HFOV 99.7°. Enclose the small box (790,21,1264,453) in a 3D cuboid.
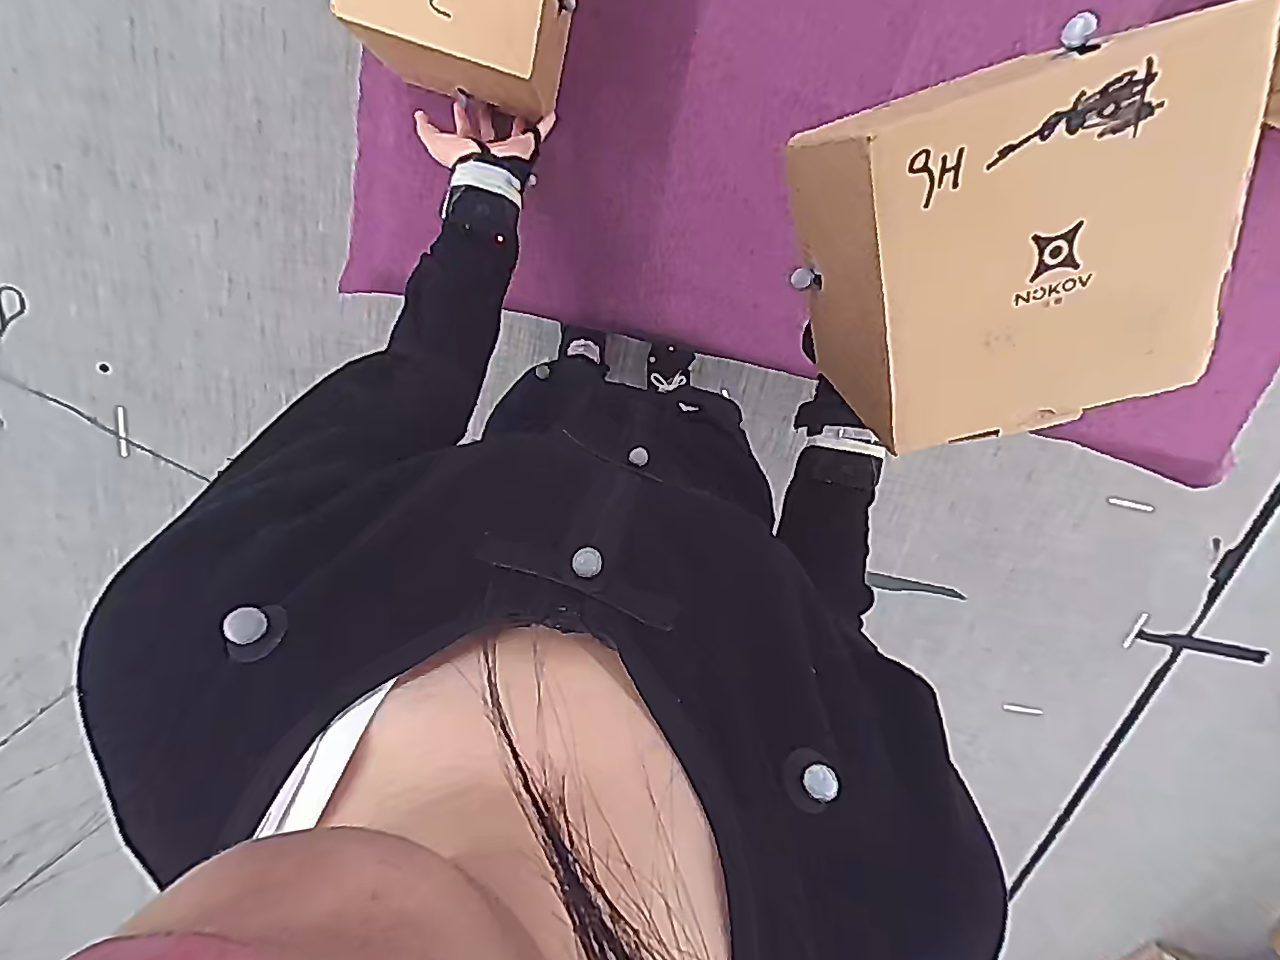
[{"bbox_3d":[0.205,-0.146,0.347,0.168,0.176,0.179,-14,120,8],"label":"small box"}]
